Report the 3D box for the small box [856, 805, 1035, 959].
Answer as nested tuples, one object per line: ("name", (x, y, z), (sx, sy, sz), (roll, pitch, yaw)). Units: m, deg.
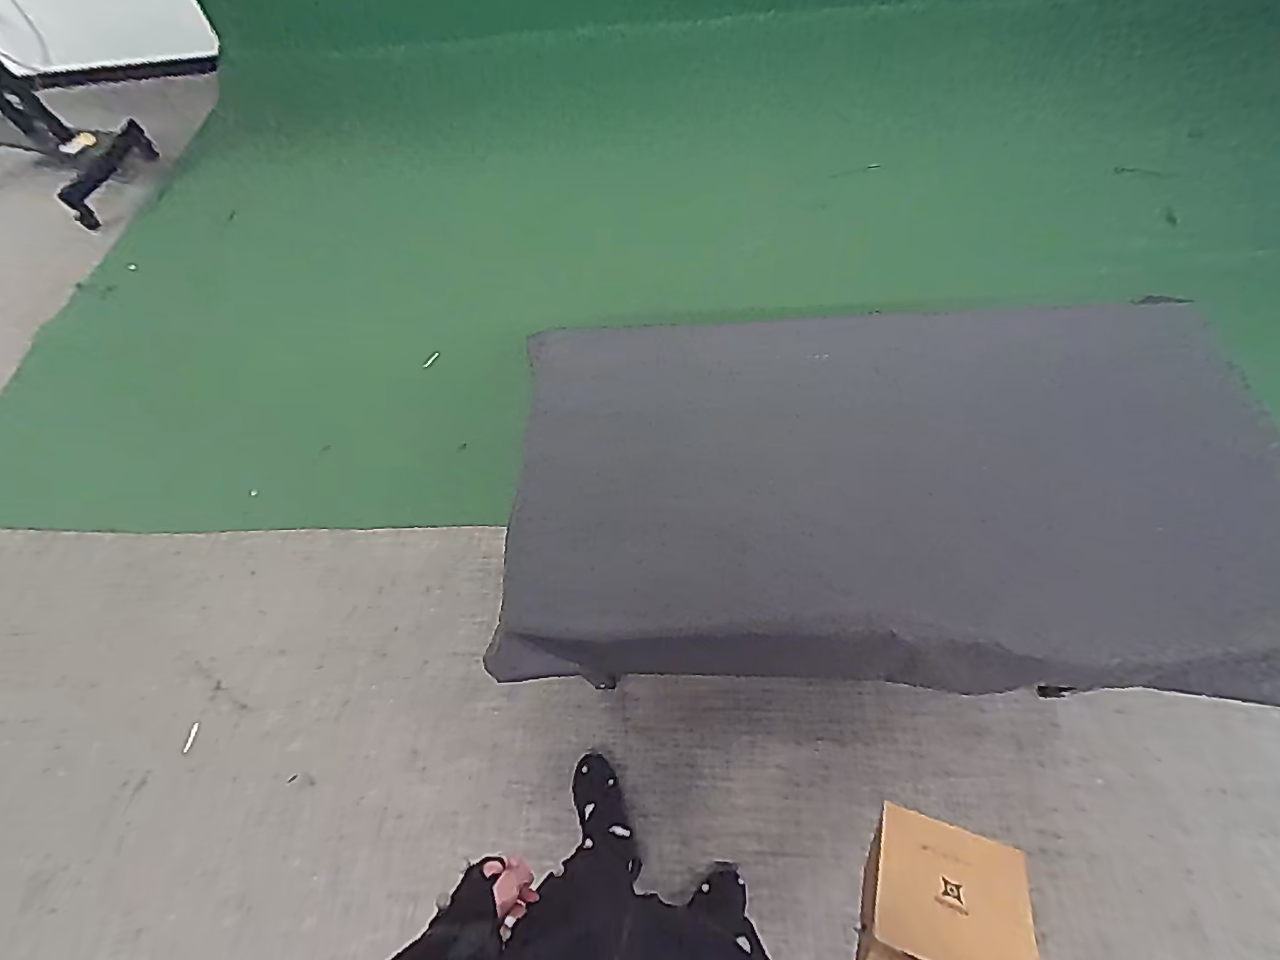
("small box", (0.377, 0.572, 0.685), (0.168, 0.176, 0.179), (11, 29, 23))
